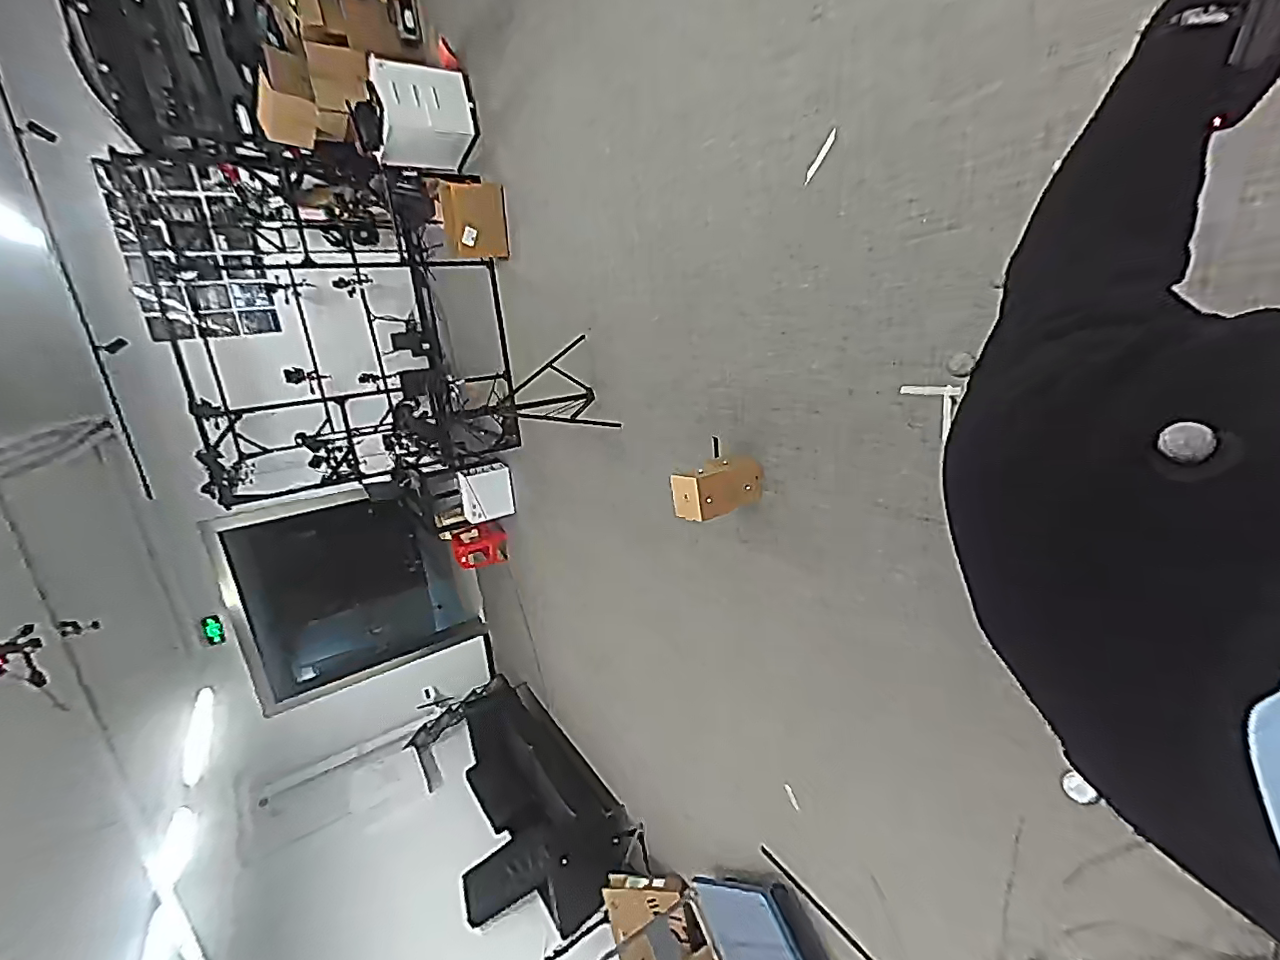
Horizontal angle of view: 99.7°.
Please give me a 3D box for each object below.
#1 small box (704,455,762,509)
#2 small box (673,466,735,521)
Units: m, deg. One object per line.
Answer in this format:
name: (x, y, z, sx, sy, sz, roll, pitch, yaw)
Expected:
small box: (0.383, 0.003, 2.215, 0.179, 0.176, 0.168, 24, 123, 54)
small box: (0.253, 0.047, 2.126, 0.168, 0.176, 0.179, 10, 112, 57)
